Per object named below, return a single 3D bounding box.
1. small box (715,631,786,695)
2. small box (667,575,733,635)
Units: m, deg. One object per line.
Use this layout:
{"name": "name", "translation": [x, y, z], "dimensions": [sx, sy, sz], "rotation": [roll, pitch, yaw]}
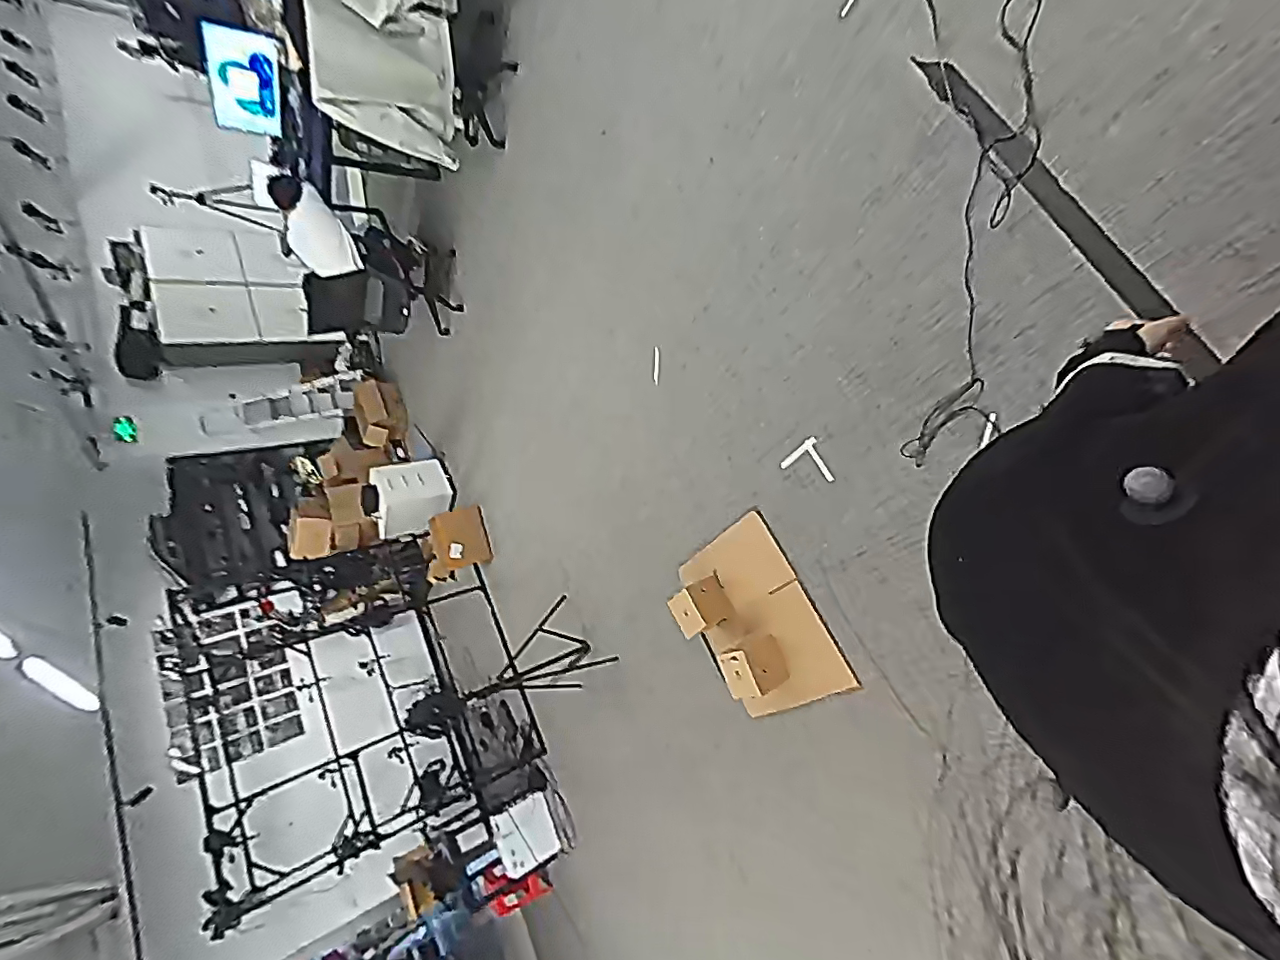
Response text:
{"name": "small box", "translation": [0.427, 0.702, 2.070], "dimensions": [0.168, 0.176, 0.179], "rotation": [-35, 74, 51]}
{"name": "small box", "translation": [0.250, 0.513, 2.251], "dimensions": [0.179, 0.176, 0.168], "rotation": [60, 142, 22]}
